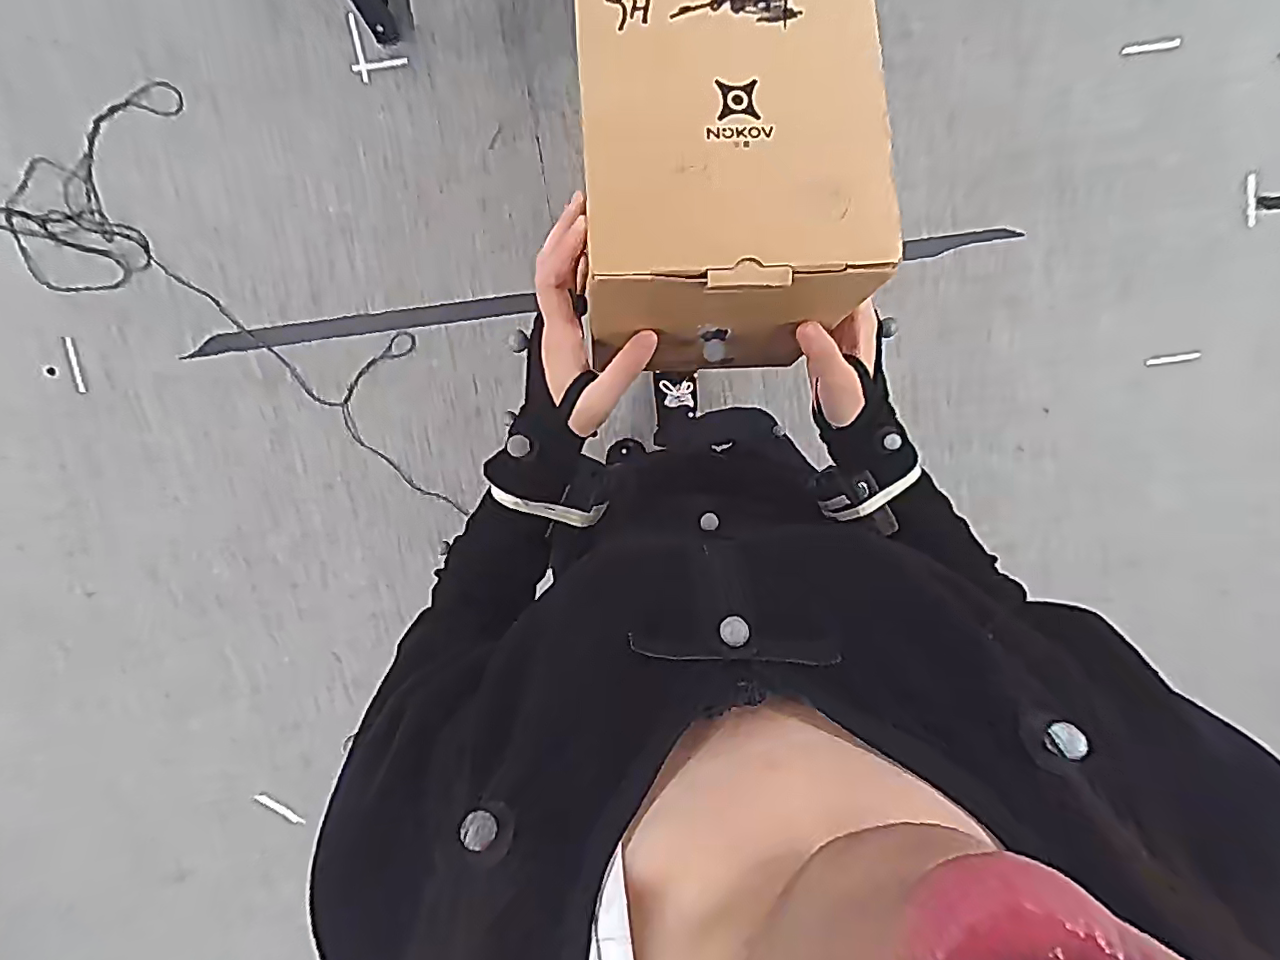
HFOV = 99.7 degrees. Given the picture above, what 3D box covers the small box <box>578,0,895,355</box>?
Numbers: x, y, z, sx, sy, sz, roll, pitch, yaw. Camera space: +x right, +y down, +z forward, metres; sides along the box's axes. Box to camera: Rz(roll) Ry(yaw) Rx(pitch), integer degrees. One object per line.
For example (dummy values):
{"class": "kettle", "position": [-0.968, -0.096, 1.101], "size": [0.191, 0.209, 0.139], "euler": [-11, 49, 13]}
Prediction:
{"class": "small box", "position": [0.047, -0.189, 0.368], "size": [0.168, 0.176, 0.179], "euler": [-3, 85, -4]}
